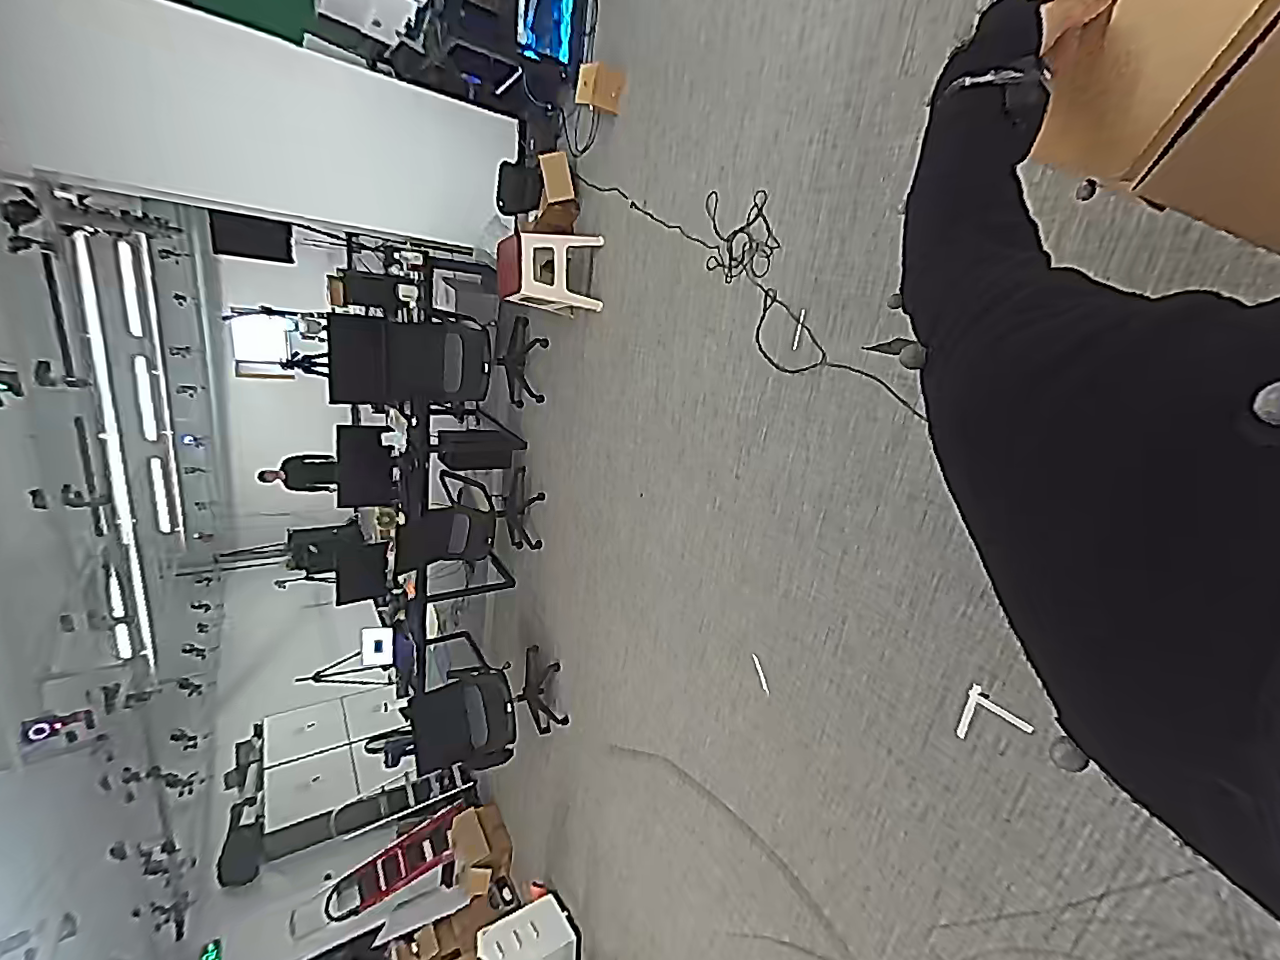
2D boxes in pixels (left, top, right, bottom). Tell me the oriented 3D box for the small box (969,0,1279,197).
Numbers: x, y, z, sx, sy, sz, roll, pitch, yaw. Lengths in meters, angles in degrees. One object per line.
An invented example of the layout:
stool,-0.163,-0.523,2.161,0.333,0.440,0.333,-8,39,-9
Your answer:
small box,0.478,-0.393,0.522,0.179,0.176,0.168,49,135,29
